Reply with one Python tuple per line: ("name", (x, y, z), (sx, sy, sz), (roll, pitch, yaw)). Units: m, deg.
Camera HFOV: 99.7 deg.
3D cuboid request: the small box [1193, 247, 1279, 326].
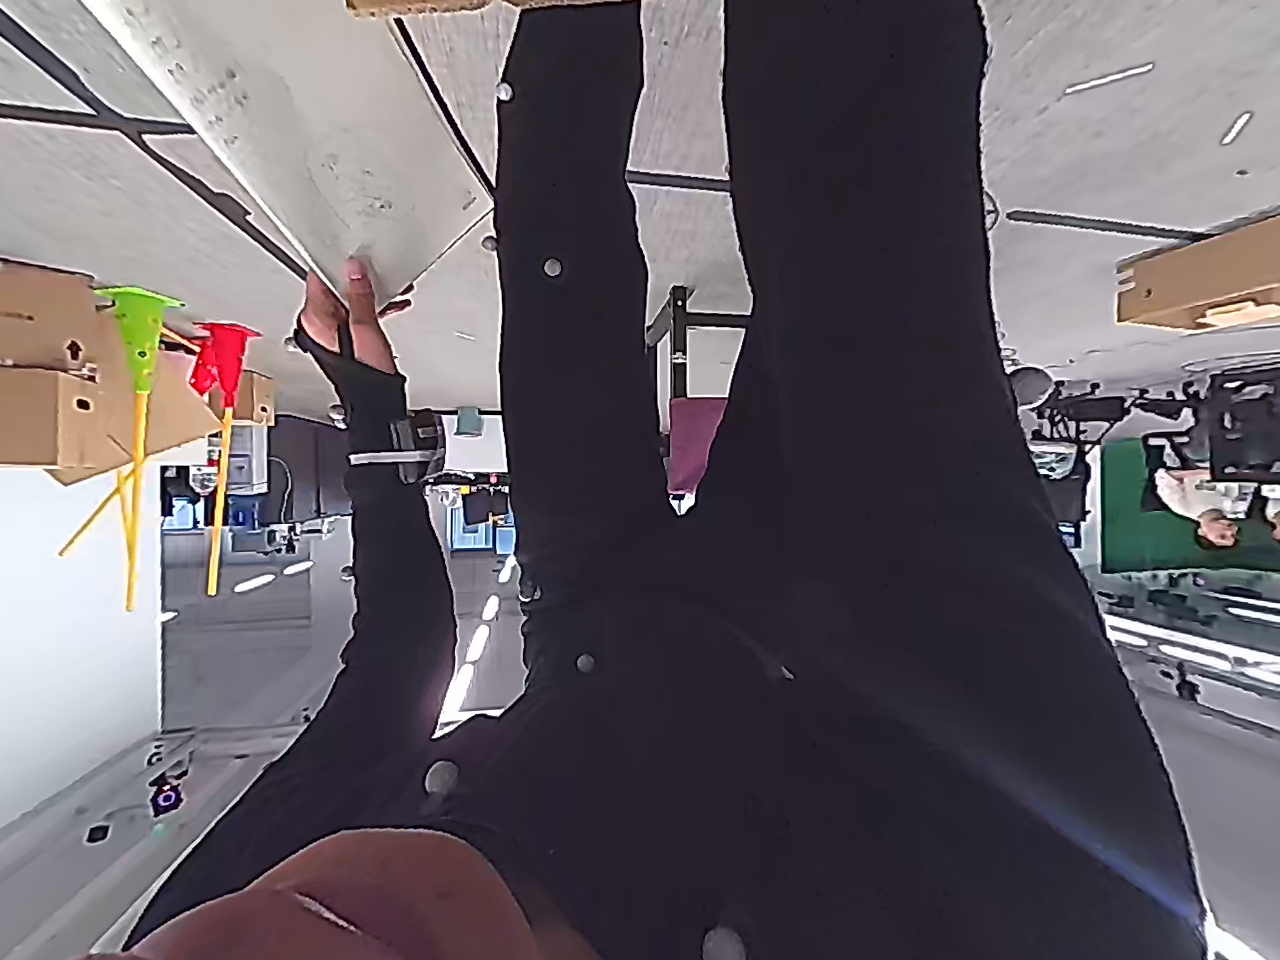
("small box", (1.786, -0.571, 1.602), (0.179, 0.176, 0.168), (0, 180, -25))
